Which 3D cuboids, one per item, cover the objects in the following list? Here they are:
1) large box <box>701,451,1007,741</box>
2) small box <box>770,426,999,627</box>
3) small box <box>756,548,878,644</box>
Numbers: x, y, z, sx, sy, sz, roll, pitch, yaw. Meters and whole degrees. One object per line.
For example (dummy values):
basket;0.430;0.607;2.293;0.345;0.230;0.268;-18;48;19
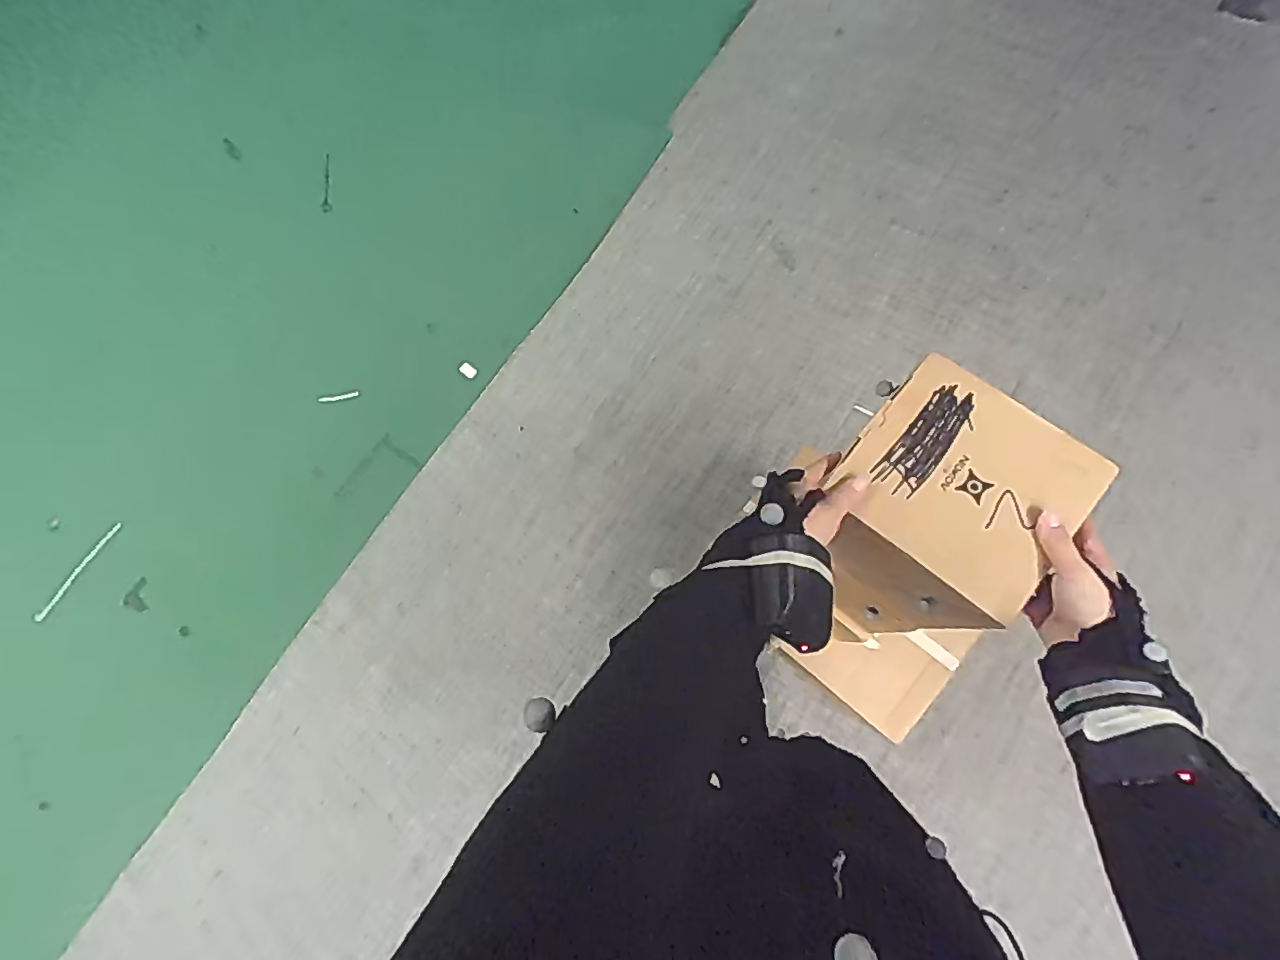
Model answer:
large box;0.364;0.211;1.046;0.408;0.320;0.320;39;84;14
small box;0.283;0.069;0.675;0.179;0.176;0.168;39;81;15
small box;0.298;0.128;0.825;0.179;0.176;0.168;40;82;17
